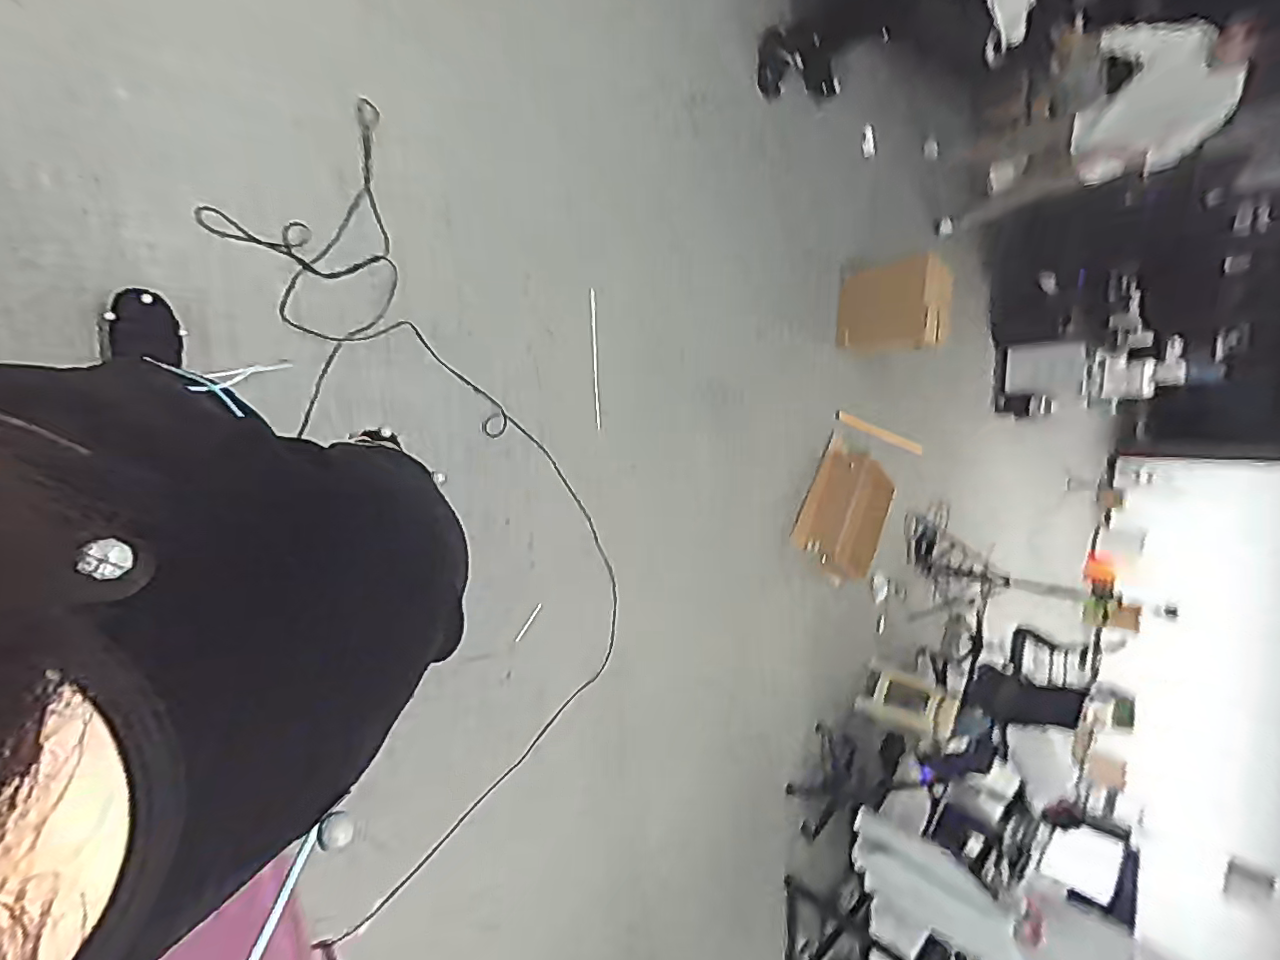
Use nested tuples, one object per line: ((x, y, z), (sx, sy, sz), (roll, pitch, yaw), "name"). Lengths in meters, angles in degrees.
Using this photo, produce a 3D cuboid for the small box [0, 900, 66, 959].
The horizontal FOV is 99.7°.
((-0.632, 0.539, 0.477), (0.168, 0.176, 0.179), (-9, 100, -41), "small box")
